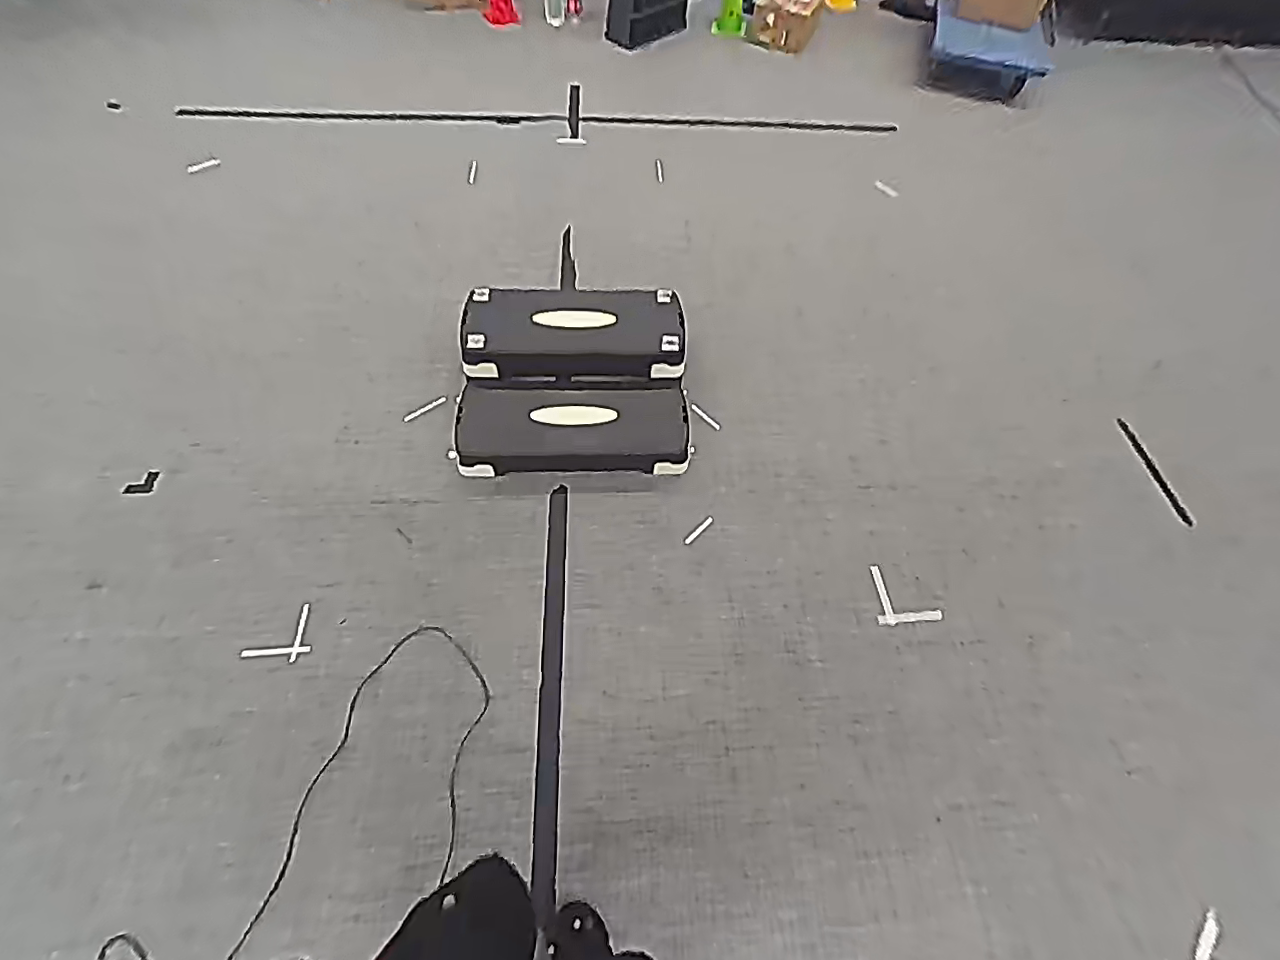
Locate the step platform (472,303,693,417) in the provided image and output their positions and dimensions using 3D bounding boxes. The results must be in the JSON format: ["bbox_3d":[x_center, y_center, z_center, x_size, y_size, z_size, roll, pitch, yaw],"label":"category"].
[{"bbox_3d":[-0.174,-0.383,1.714,0.684,0.204,0.286,3,58,-2],"label":"step platform"}]
